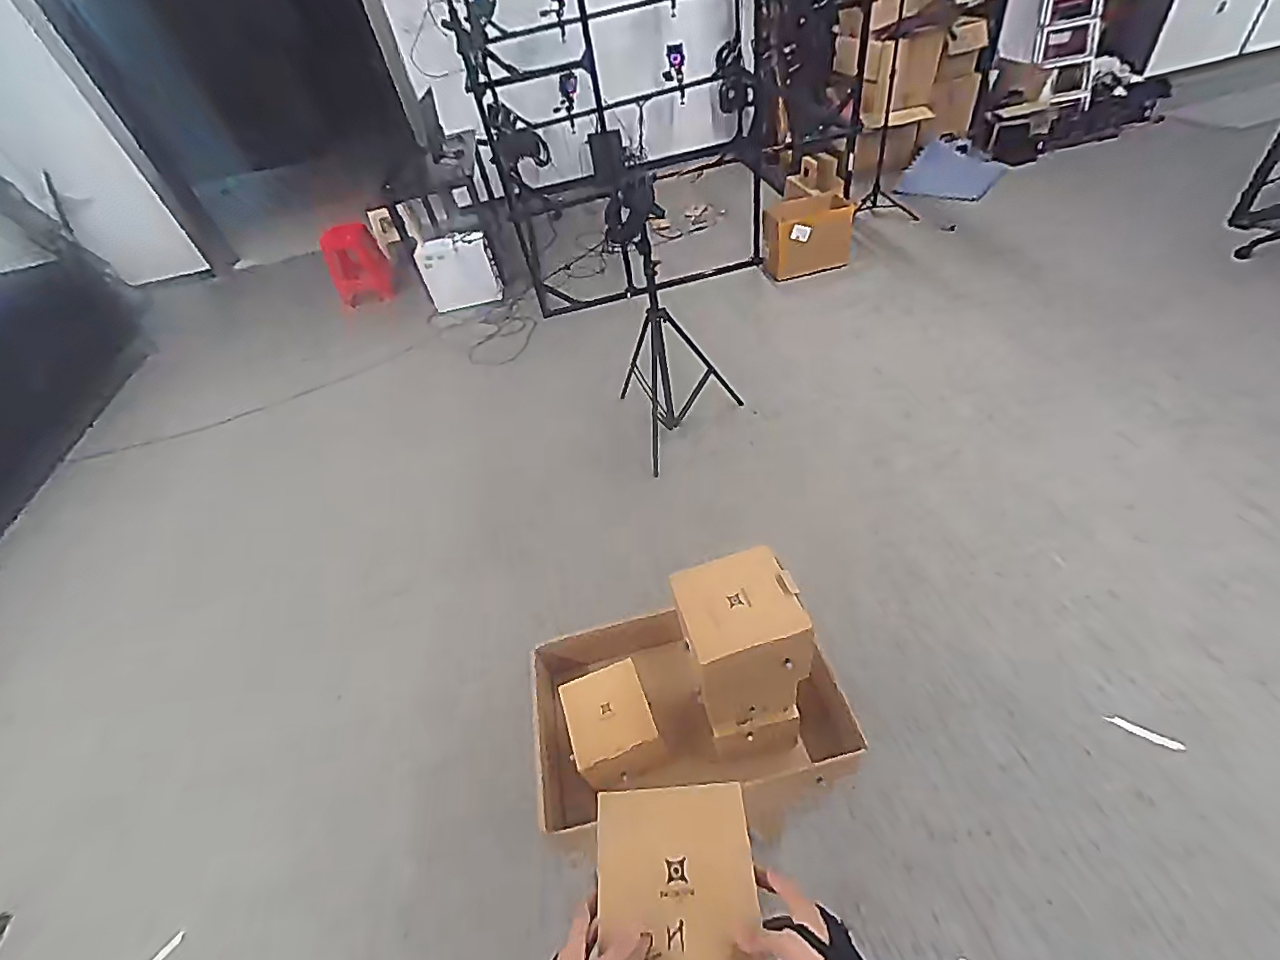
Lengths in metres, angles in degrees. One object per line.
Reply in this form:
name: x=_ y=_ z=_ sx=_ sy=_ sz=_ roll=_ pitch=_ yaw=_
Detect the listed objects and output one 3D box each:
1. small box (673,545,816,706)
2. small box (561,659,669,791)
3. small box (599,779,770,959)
small box: x=0.164 y=0.237 z=0.878 sx=0.179 sy=0.176 sz=0.168 roll=-17 pitch=44 yaw=-3
small box: x=-0.050 y=0.512 z=1.125 sx=0.168 sy=0.176 sz=0.179 roll=-21 pitch=45 yaw=-7
small box: x=0.045 y=0.462 z=0.616 sx=0.168 sy=0.176 sz=0.179 roll=-6 pitch=49 yaw=2
